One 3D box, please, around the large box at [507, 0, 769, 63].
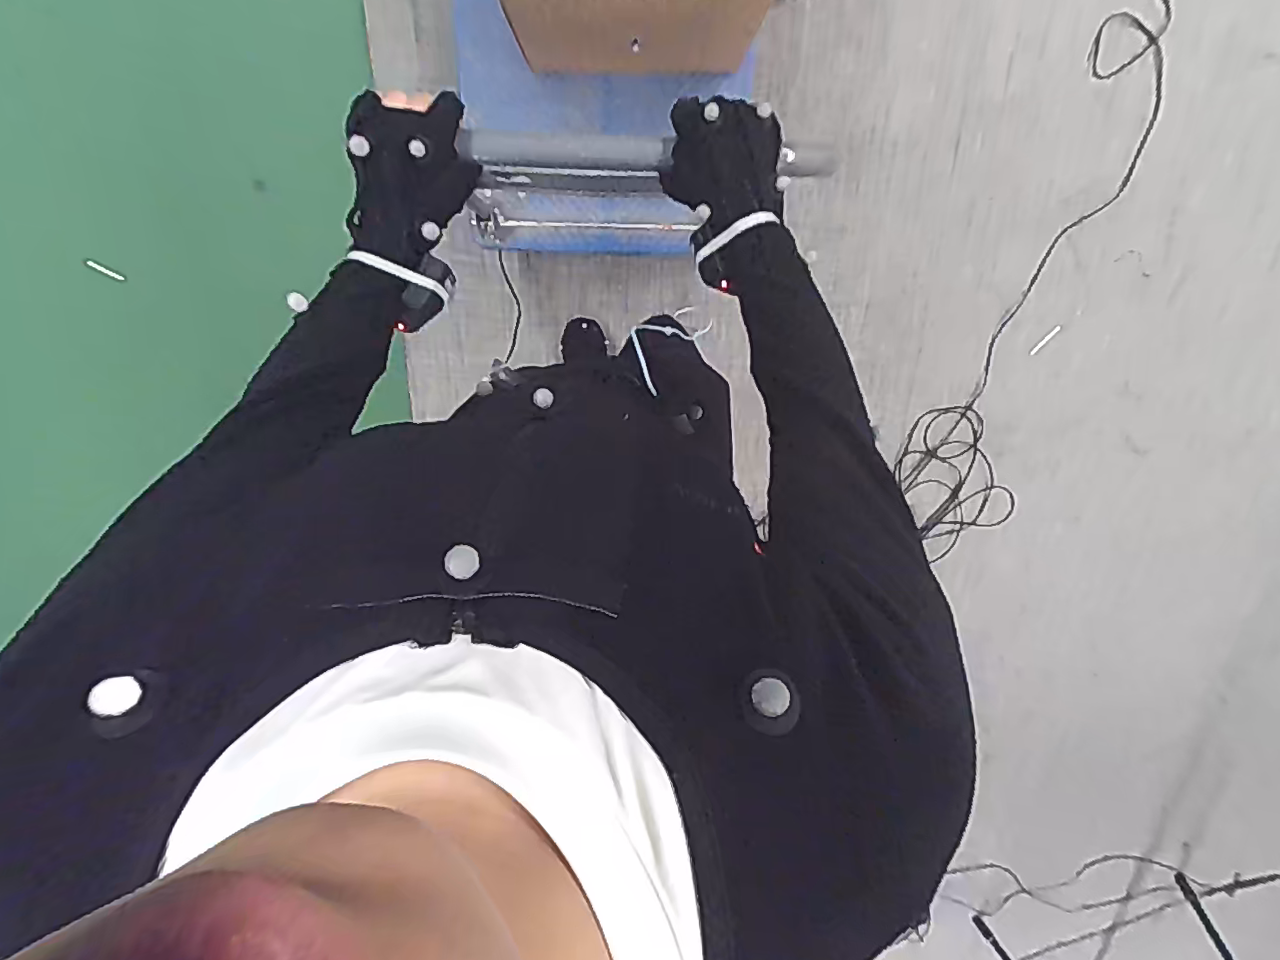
[{"bbox_3d":[-0.003,-0.900,0.861,0.408,0.320,0.320,0,110,0],"label":"large box"}]
